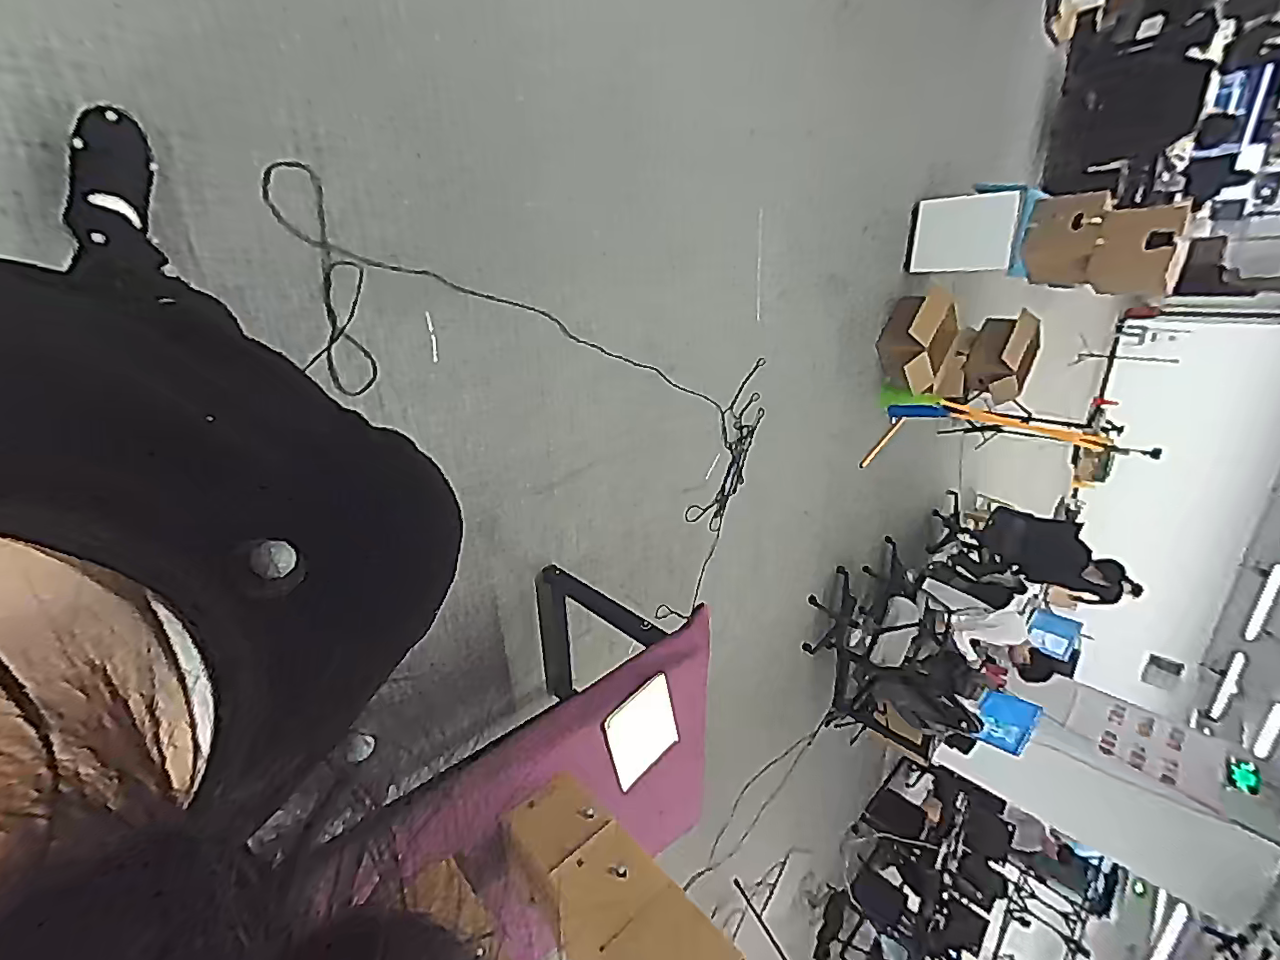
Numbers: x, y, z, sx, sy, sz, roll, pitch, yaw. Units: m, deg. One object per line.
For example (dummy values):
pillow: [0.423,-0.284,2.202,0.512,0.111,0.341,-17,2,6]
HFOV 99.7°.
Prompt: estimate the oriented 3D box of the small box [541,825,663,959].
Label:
small box: [-0.074,0.798,1.020,0.168,0.176,0.179,-19,118,-41]

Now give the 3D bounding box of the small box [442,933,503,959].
small box: [-0.272,0.870,0.842,0.168,0.176,0.179,-20,119,-39]

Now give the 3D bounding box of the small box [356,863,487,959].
small box: [-0.382,0.831,0.957,0.168,0.176,0.179,-18,118,-40]

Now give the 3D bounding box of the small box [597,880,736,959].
small box: [0.035,0.836,0.901,0.179,0.176,0.168,-16,117,-42]
